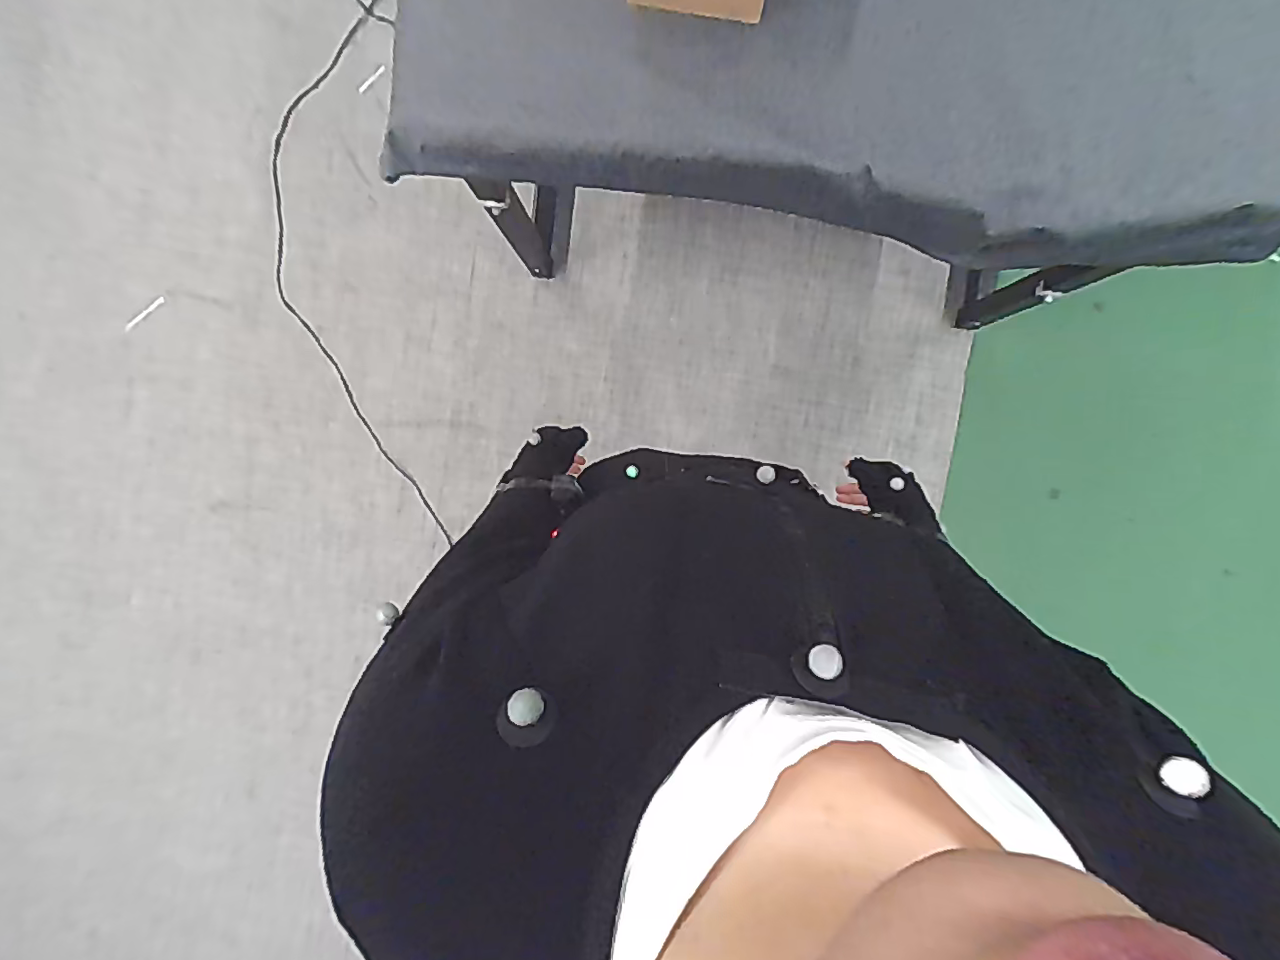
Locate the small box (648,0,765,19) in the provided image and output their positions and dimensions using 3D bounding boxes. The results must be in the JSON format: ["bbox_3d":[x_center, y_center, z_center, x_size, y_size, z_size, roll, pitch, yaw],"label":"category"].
[{"bbox_3d":[0.083,-0.684,0.621,0.179,0.176,0.168,10,93,0],"label":"small box"}]
